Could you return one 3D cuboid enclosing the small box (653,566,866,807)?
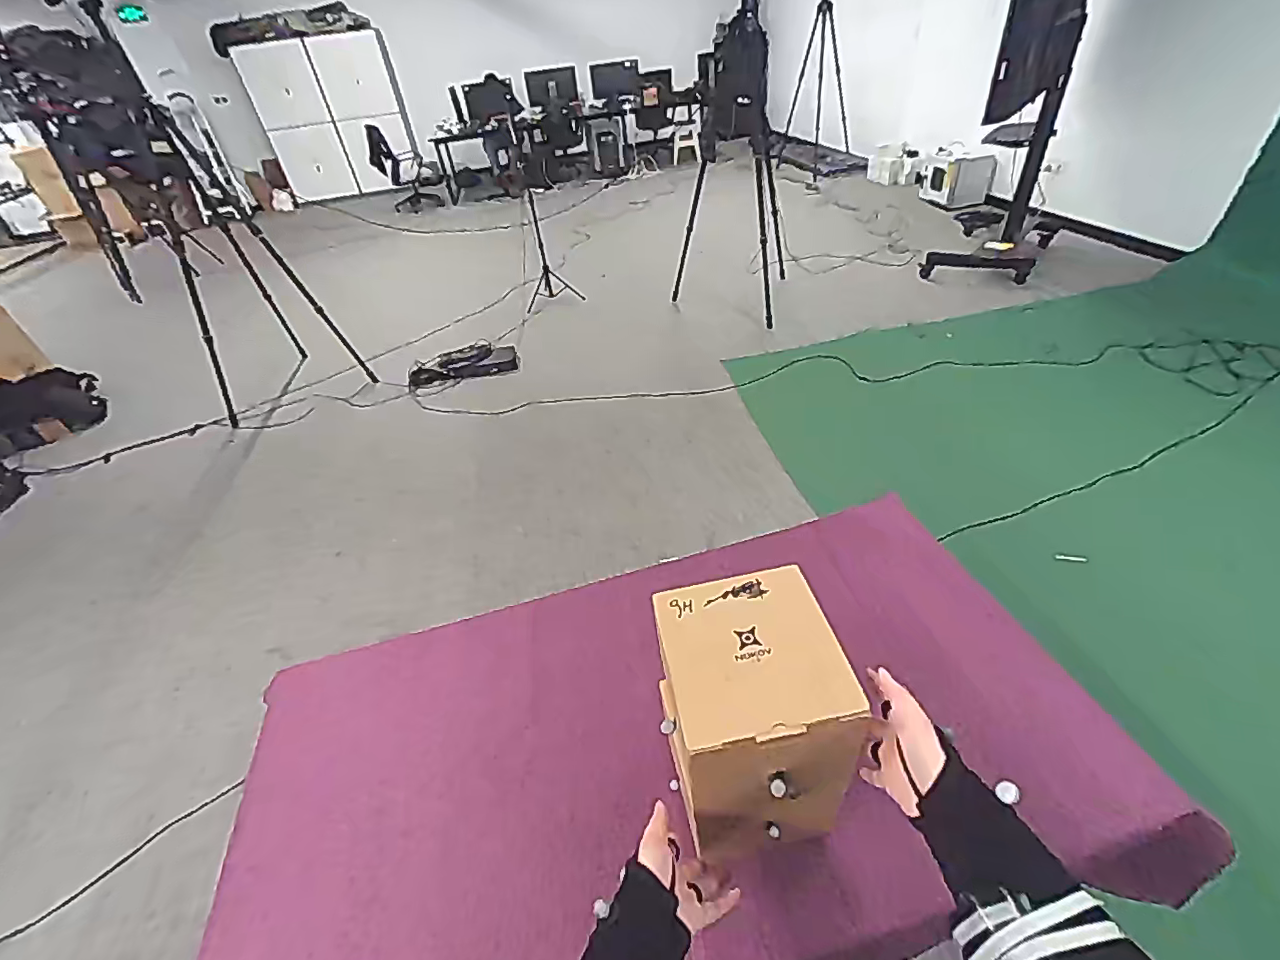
[{"bbox_3d":[0.116,0.224,0.578,0.168,0.176,0.179,-11,41,-3],"label":"small box"}]
